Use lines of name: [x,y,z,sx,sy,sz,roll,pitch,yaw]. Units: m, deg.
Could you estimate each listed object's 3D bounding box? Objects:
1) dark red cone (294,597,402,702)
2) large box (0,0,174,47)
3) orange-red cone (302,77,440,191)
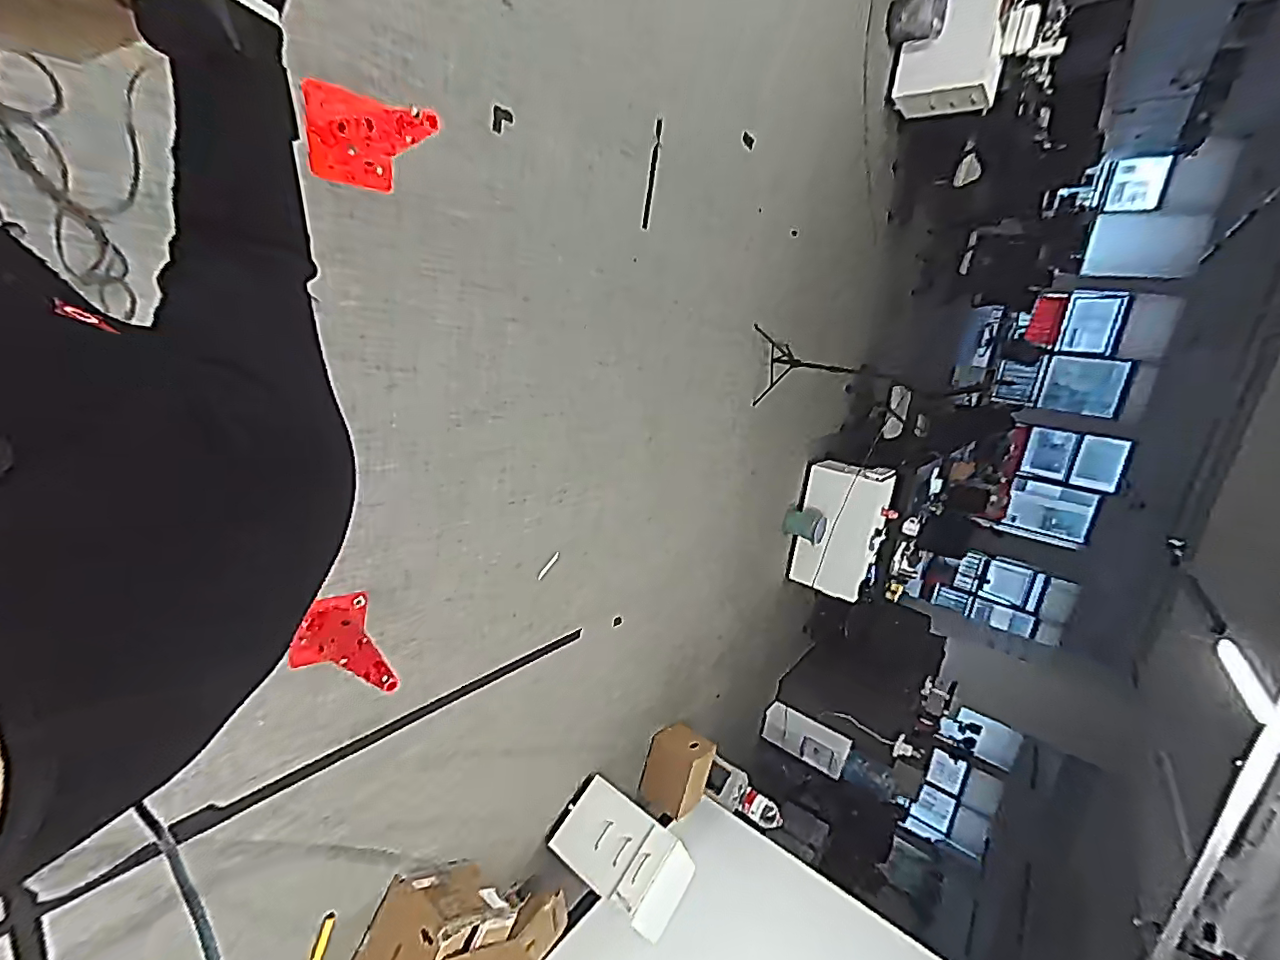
dark red cone: [-0.755,0.480,1.457,0.201,0.394,0.202,-2,106,-52]
large box: [-0.518,-0.467,0.234,0.408,0.320,0.320,-16,123,-51]
orange-red cone: [-0.563,-0.779,1.196,0.198,0.360,0.199,-15,116,-51]
